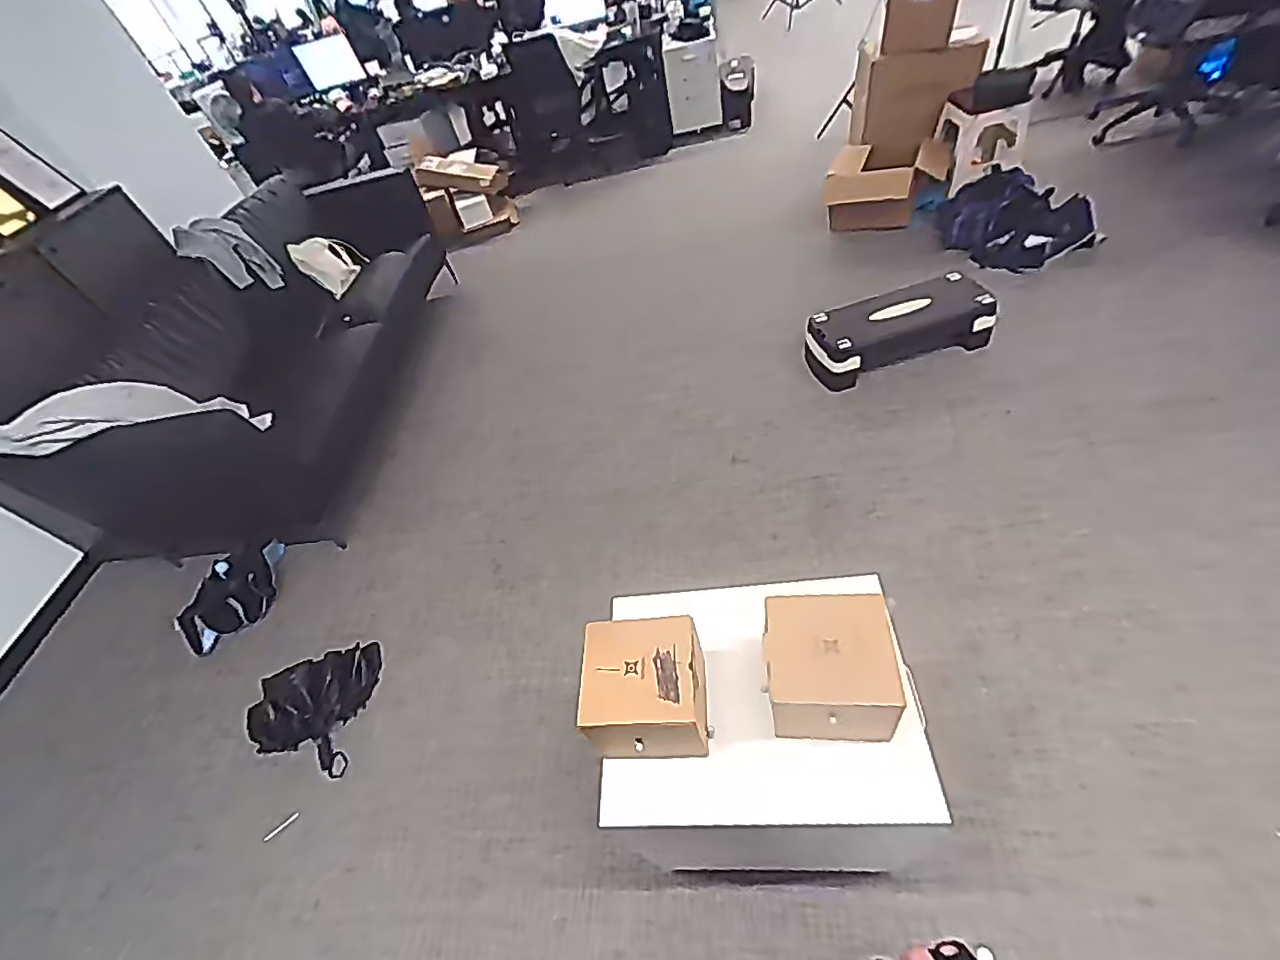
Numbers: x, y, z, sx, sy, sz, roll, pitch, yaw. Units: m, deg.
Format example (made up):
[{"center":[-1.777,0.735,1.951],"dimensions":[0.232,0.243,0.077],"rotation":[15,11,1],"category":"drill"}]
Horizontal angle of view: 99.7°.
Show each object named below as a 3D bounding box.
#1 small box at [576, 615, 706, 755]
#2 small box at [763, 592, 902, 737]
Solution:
[{"center":[0.012,0.335,0.875],"dimensions":[0.179,0.176,0.168],"rotation":[-7,48,11],"category":"small box"},{"center":[0.288,0.288,0.838],"dimensions":[0.179,0.176,0.168],"rotation":[-4,50,13],"category":"small box"}]
